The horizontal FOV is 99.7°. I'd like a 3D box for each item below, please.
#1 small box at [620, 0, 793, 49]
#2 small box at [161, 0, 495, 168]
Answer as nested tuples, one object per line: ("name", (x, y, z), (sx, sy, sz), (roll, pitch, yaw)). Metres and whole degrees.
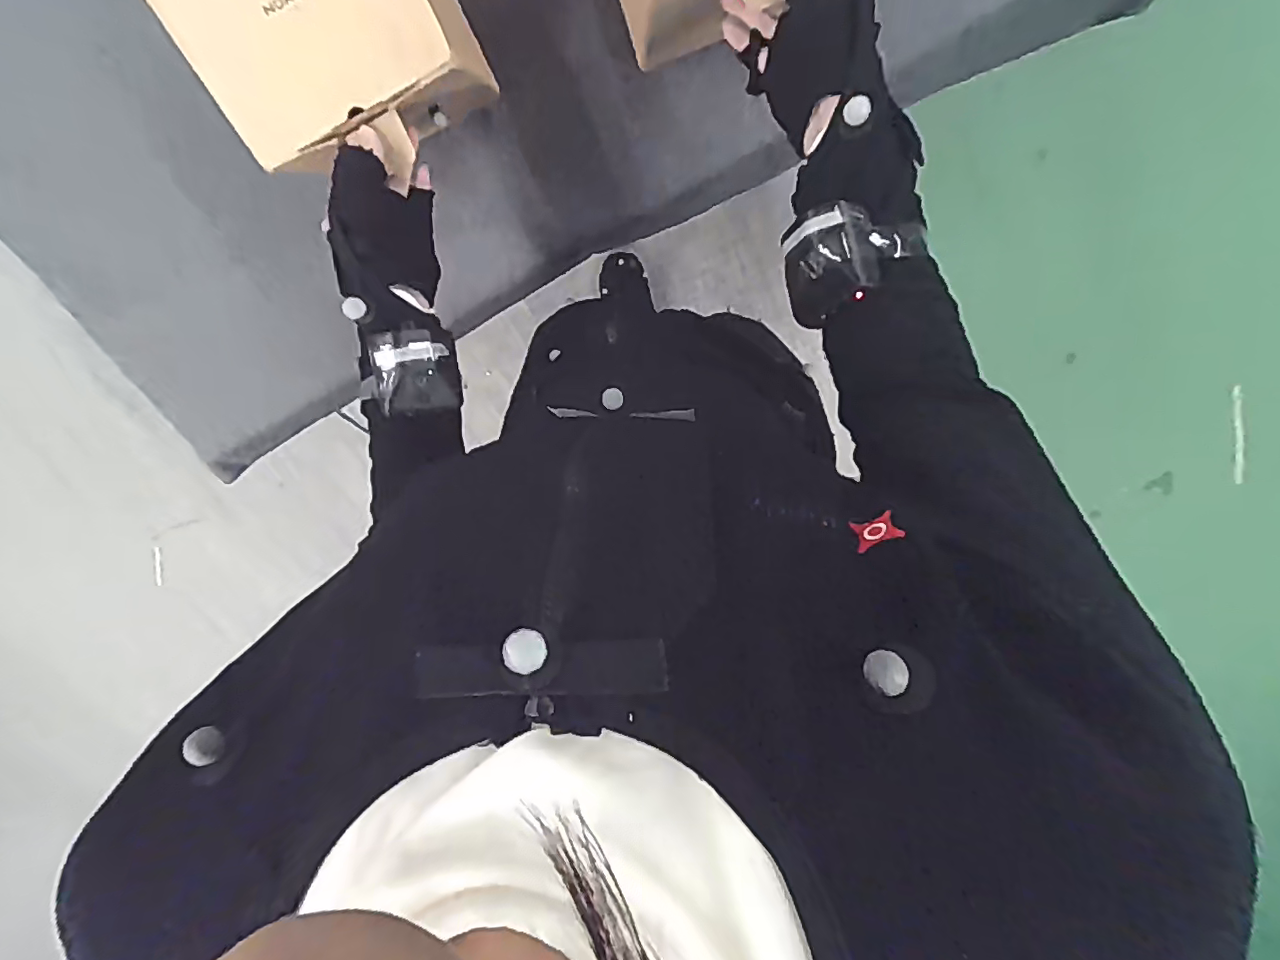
("small box", (0.053, -0.454, 0.390), (0.168, 0.176, 0.179), (-20, 111, 4))
("small box", (-0.232, -0.366, 0.414), (0.168, 0.176, 0.179), (-23, 117, 8))
